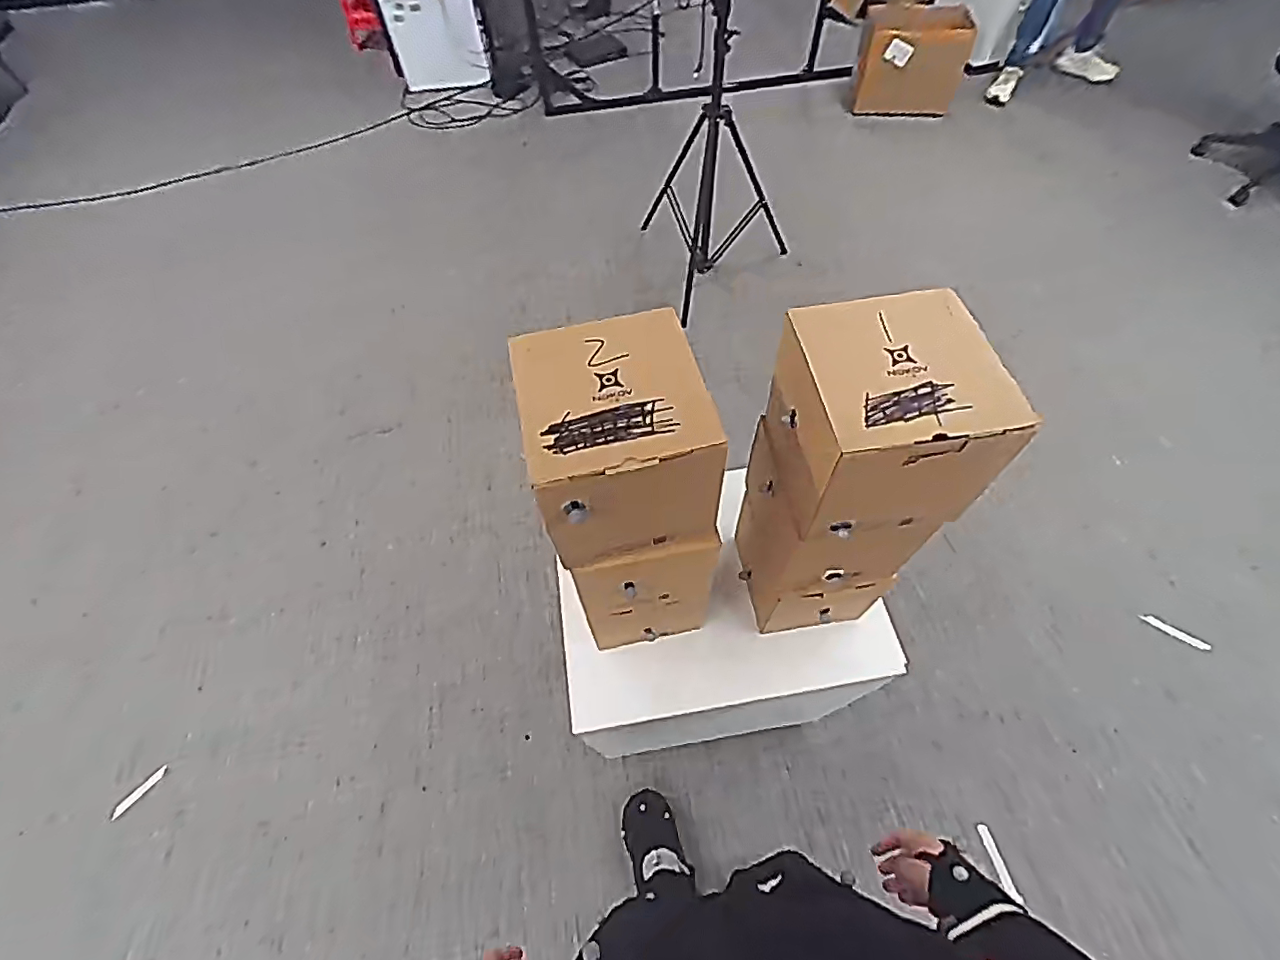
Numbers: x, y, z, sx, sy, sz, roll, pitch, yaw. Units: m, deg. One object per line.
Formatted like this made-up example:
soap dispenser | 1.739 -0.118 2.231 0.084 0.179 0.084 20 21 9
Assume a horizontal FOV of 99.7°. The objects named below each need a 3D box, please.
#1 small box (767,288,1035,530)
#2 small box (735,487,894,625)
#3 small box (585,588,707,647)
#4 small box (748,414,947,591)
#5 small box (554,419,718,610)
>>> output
small box | 0.236 -0.061 0.547 0.168 0.176 0.179 -8 58 0
small box | 0.250 0.112 0.823 0.168 0.176 0.179 -8 60 -3
small box | -0.004 0.134 0.821 0.168 0.176 0.179 -11 60 -4
small box | 0.242 0.022 0.689 0.168 0.176 0.179 -9 60 -1
small box | -0.006 0.053 0.680 0.168 0.176 0.179 -10 59 -4
